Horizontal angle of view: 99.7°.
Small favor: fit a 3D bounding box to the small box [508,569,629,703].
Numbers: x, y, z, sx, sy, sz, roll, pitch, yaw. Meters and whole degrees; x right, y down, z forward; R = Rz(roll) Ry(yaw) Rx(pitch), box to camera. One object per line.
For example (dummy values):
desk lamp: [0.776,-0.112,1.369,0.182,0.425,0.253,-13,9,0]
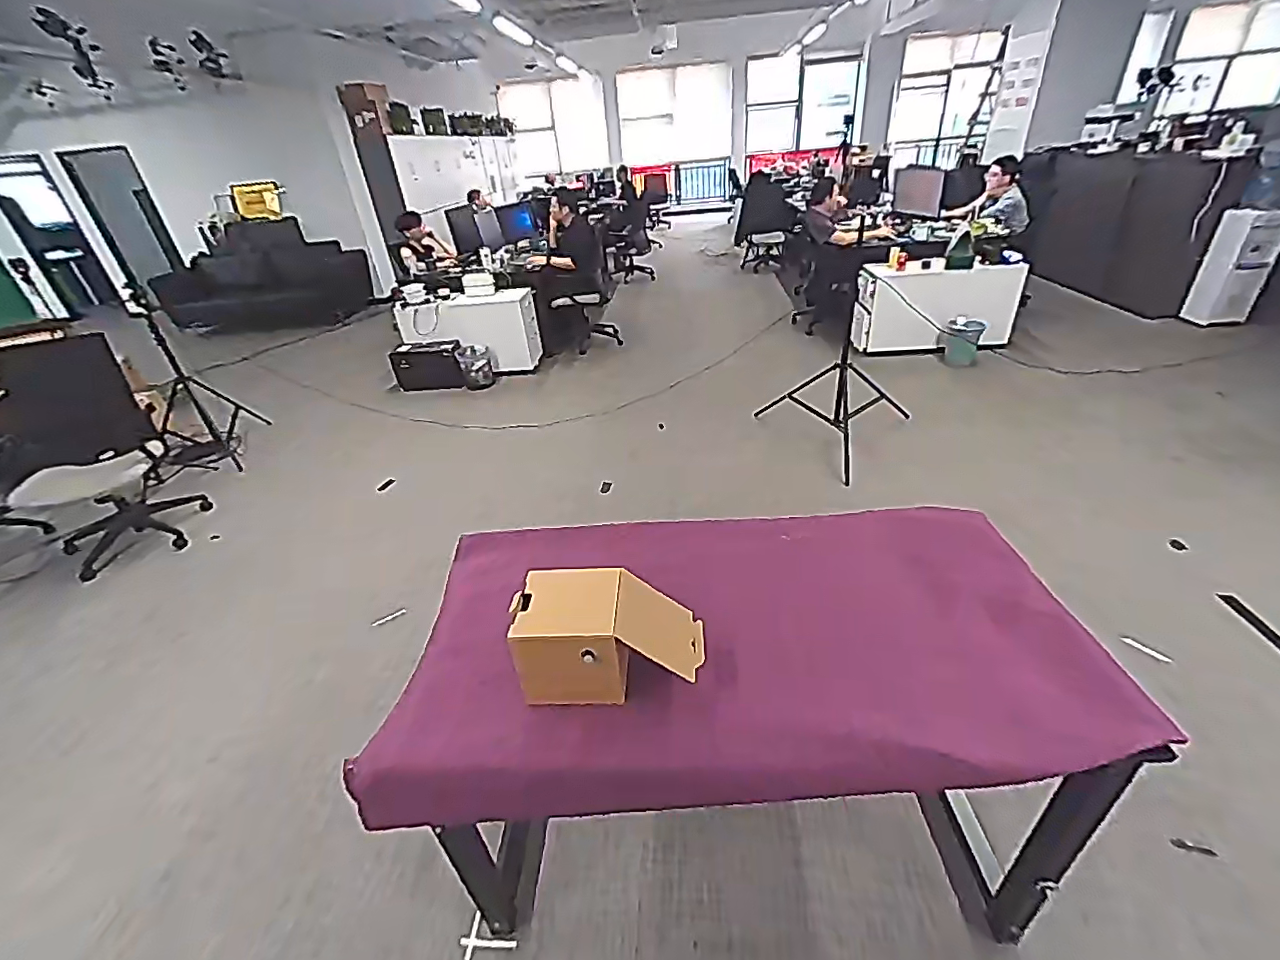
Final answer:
small box: [-0.116,0.277,0.966,0.179,0.176,0.168,-3,30,5]
